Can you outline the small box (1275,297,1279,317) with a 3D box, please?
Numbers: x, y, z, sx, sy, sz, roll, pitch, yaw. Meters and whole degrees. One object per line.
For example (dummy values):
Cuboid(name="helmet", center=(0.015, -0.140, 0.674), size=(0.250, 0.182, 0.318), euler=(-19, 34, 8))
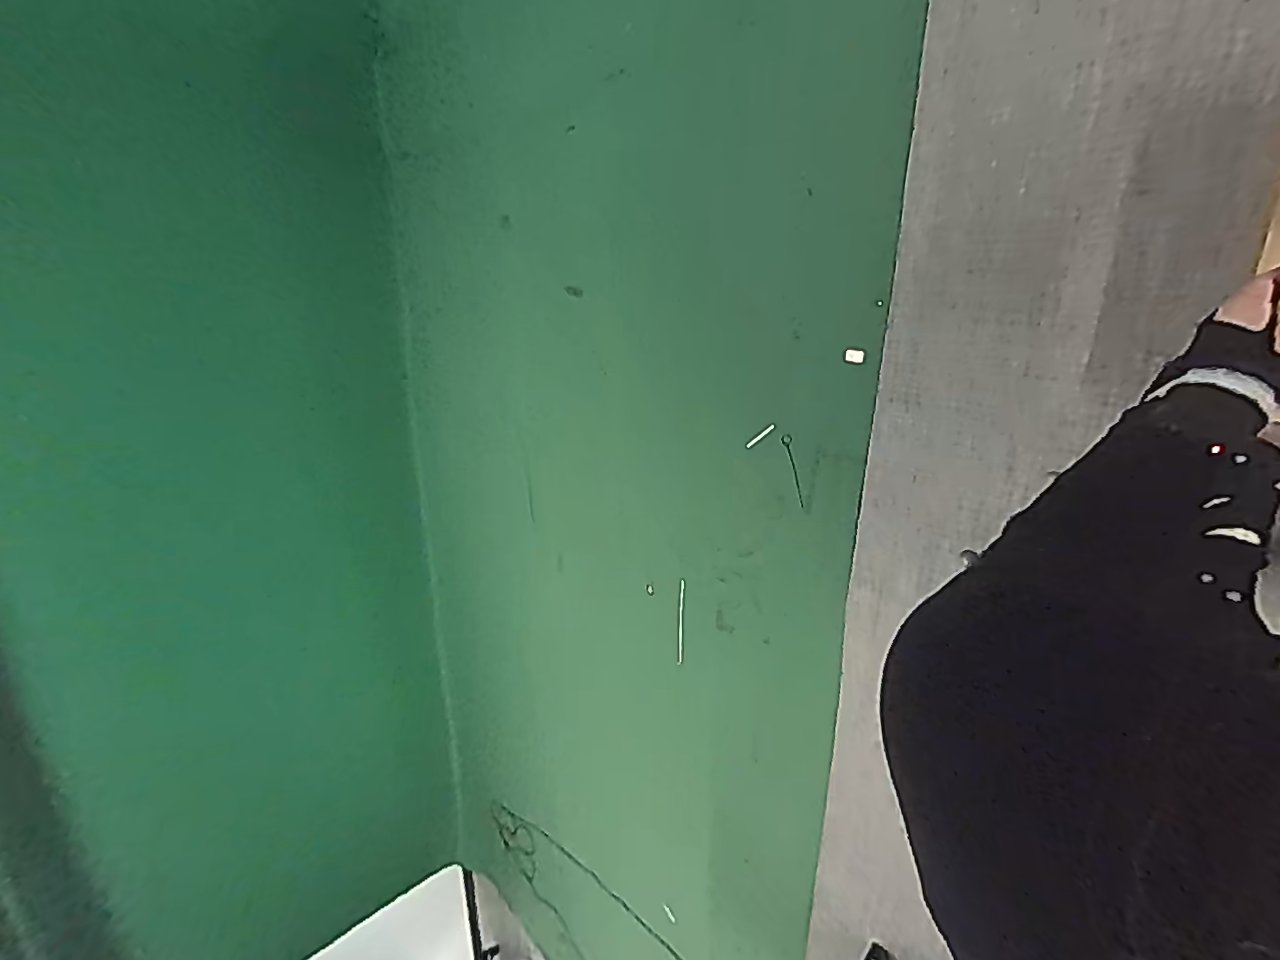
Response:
Cuboid(name="small box", center=(0.613, -0.218, 0.382), size=(0.168, 0.176, 0.179), euler=(24, 139, 41))
